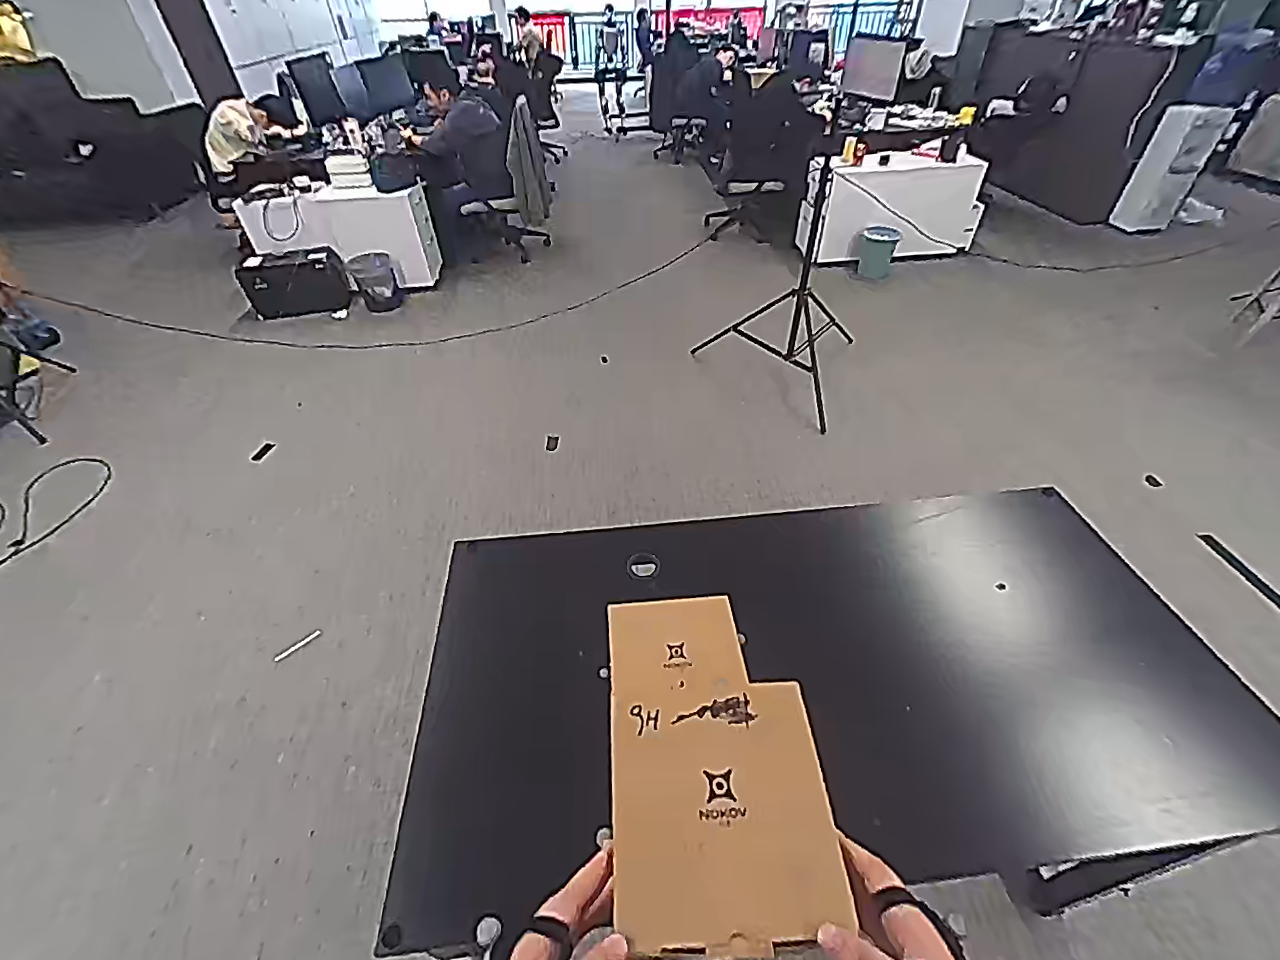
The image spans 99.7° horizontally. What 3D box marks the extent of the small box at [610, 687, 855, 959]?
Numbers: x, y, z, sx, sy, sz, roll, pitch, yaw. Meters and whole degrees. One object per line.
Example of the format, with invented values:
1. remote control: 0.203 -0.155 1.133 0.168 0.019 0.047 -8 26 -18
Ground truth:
1. small box: 0.060 0.300 0.472 0.168 0.176 0.179 -2 48 -3

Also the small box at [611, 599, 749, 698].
1. small box: 0.046 0.283 0.725 0.168 0.176 0.179 -4 43 -2
